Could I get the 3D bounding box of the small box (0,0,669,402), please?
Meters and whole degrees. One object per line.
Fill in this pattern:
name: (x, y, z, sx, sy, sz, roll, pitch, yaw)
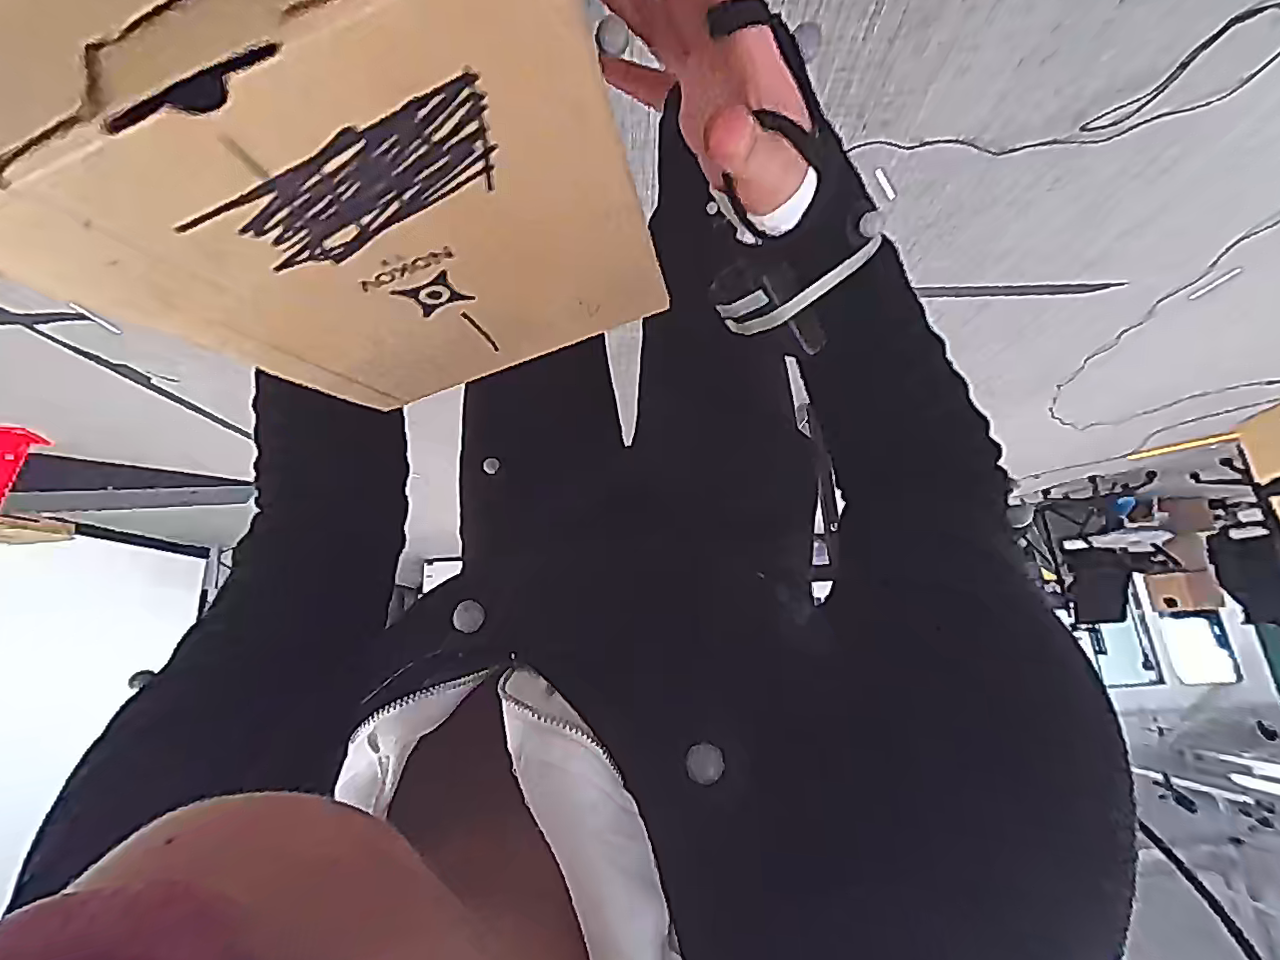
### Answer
small box: (-0.098, -0.155, 0.216, 0.168, 0.176, 0.179, -18, 171, 7)
